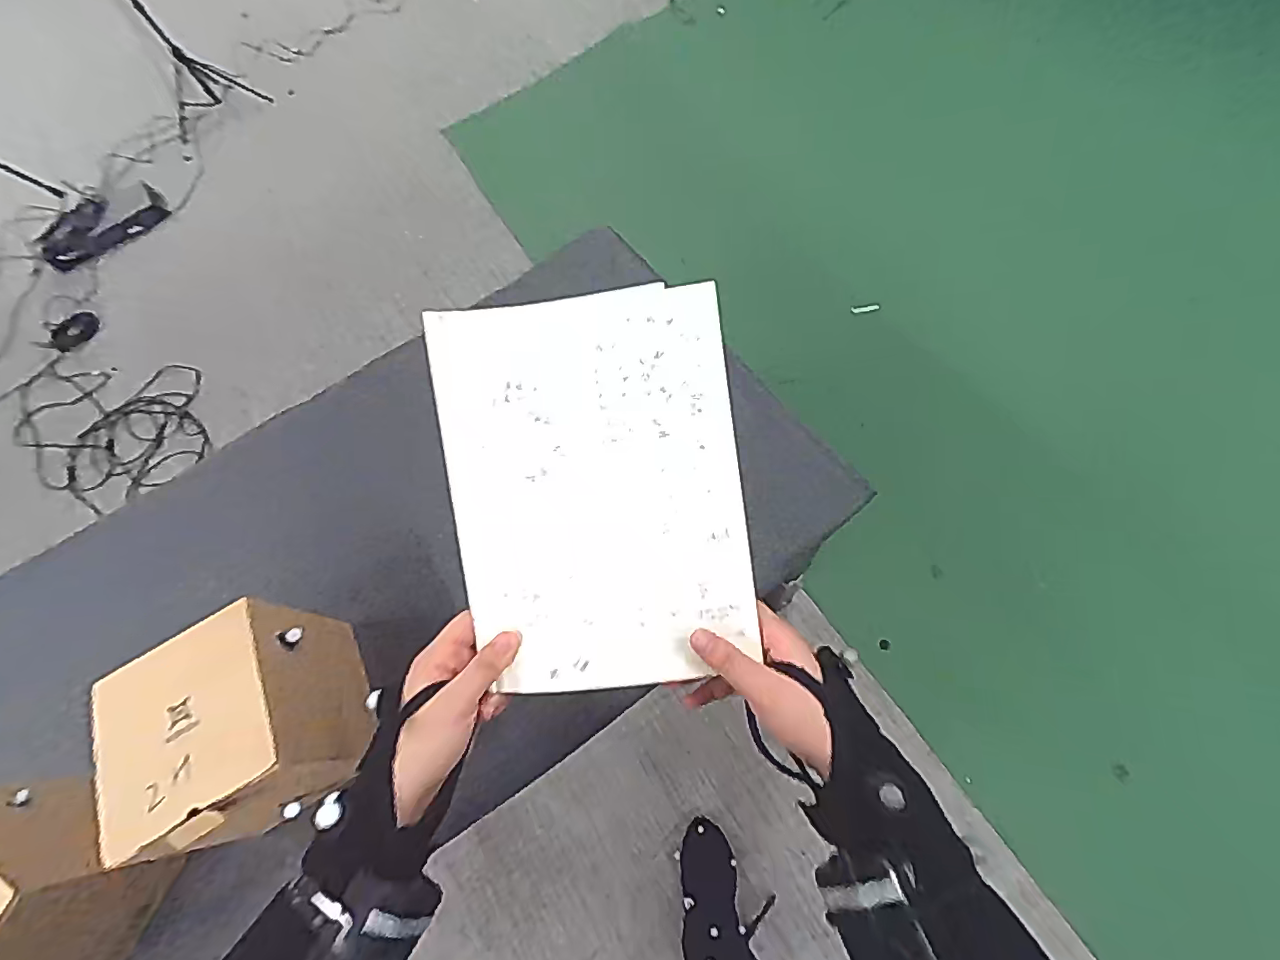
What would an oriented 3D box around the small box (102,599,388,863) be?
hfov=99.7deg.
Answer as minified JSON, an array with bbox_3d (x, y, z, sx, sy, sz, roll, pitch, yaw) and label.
[{"bbox_3d":[-0.406,0.257,0.576,0.168,0.176,0.179,-31,65,-4],"label":"small box"}]
